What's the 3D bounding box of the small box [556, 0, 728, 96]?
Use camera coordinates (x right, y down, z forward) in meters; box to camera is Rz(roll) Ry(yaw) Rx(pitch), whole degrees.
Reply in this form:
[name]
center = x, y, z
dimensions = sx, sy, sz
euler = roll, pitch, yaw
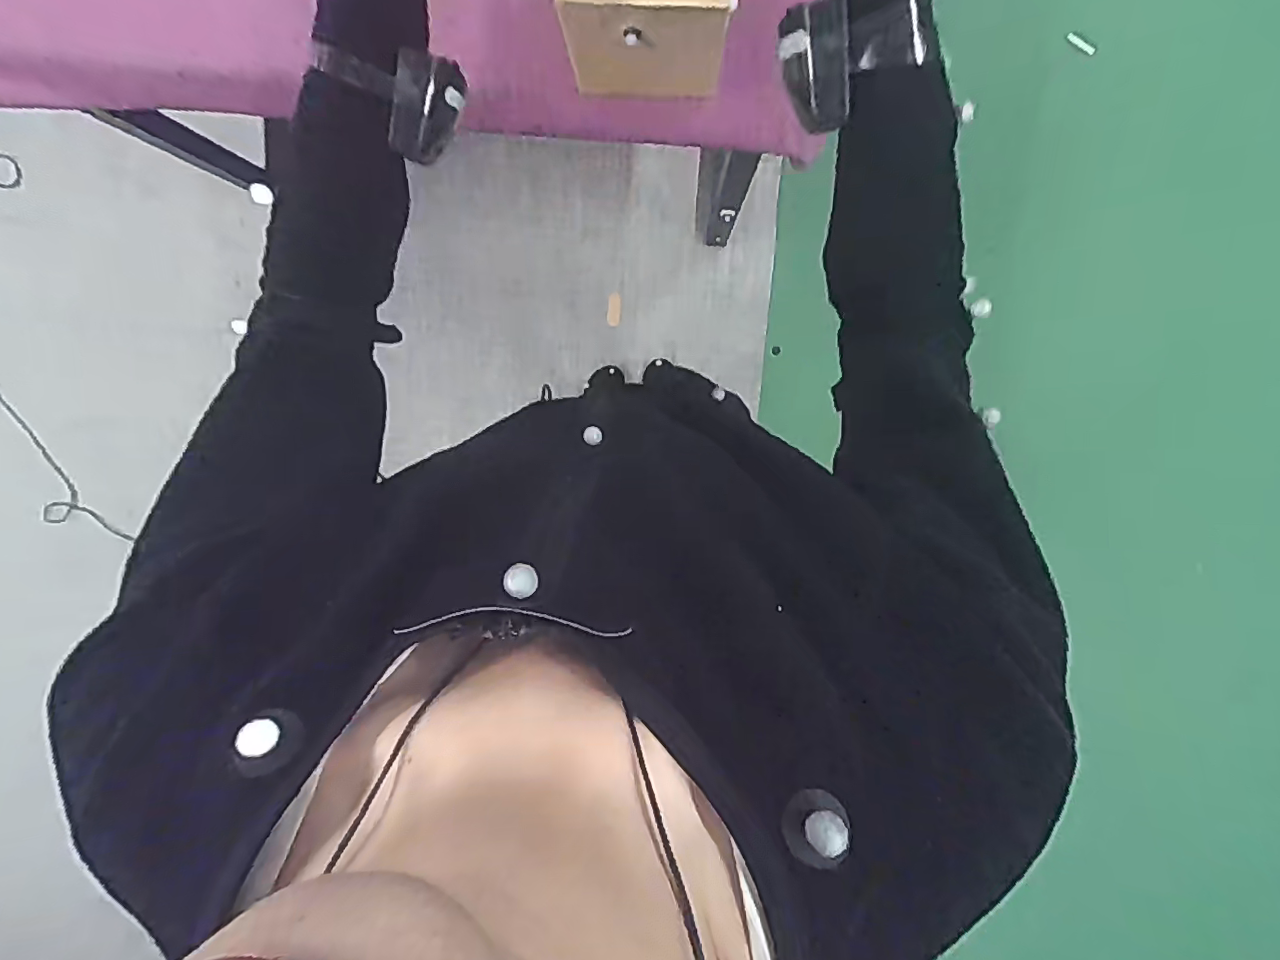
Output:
[small box]
center = 0.010, -0.563, 0.606
dimensions = 0.179, 0.176, 0.168
euler = 3, 100, 2
